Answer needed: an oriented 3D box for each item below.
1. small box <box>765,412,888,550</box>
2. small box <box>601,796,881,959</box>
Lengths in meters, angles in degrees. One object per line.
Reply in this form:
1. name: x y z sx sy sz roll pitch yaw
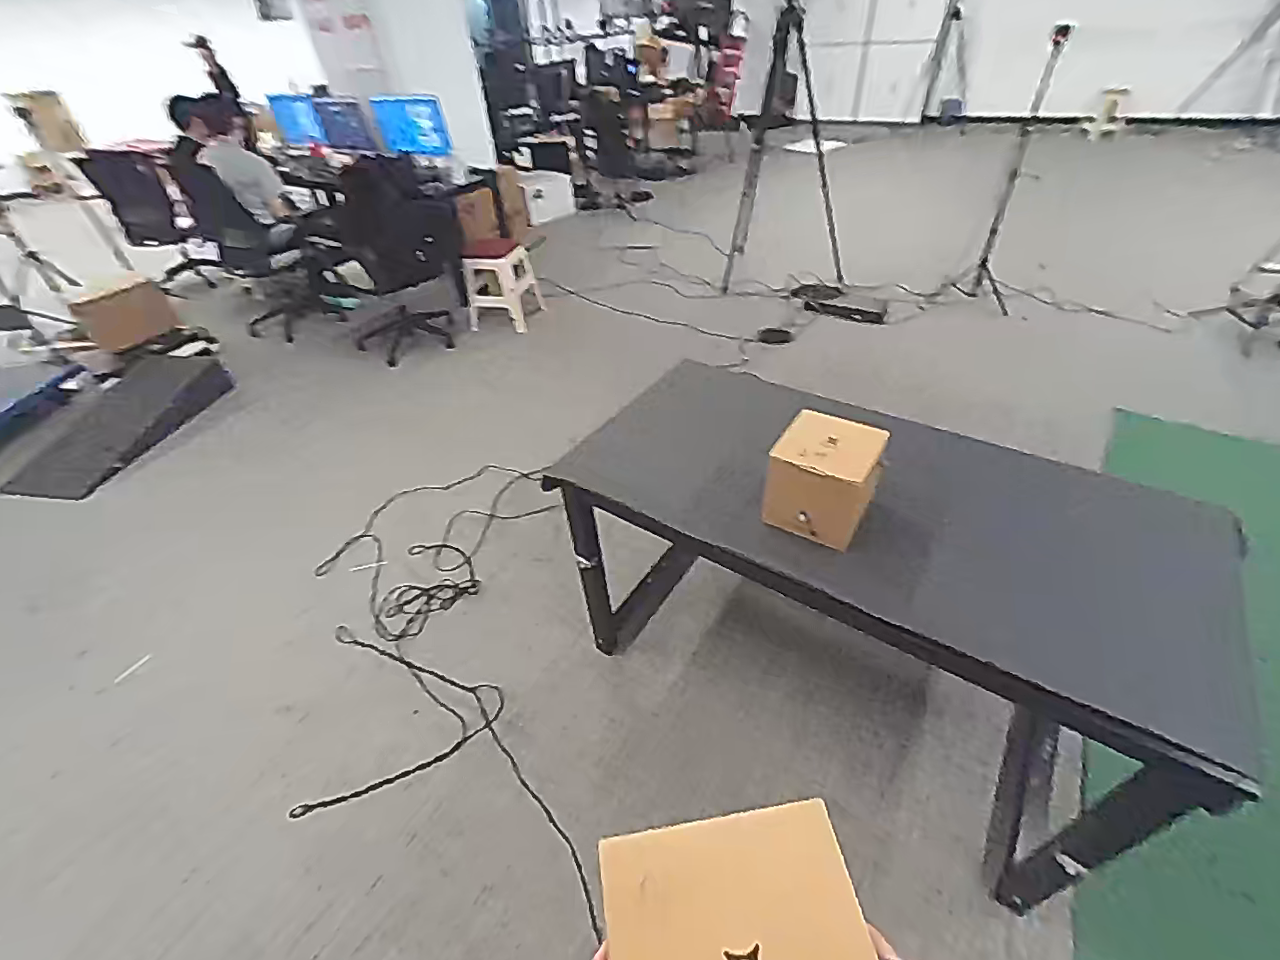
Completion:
1. small box: 0.347 0.000 1.029 0.168 0.176 0.179 21 46 28
2. small box: 0.064 0.352 0.375 0.168 0.176 0.179 -7 45 -6
